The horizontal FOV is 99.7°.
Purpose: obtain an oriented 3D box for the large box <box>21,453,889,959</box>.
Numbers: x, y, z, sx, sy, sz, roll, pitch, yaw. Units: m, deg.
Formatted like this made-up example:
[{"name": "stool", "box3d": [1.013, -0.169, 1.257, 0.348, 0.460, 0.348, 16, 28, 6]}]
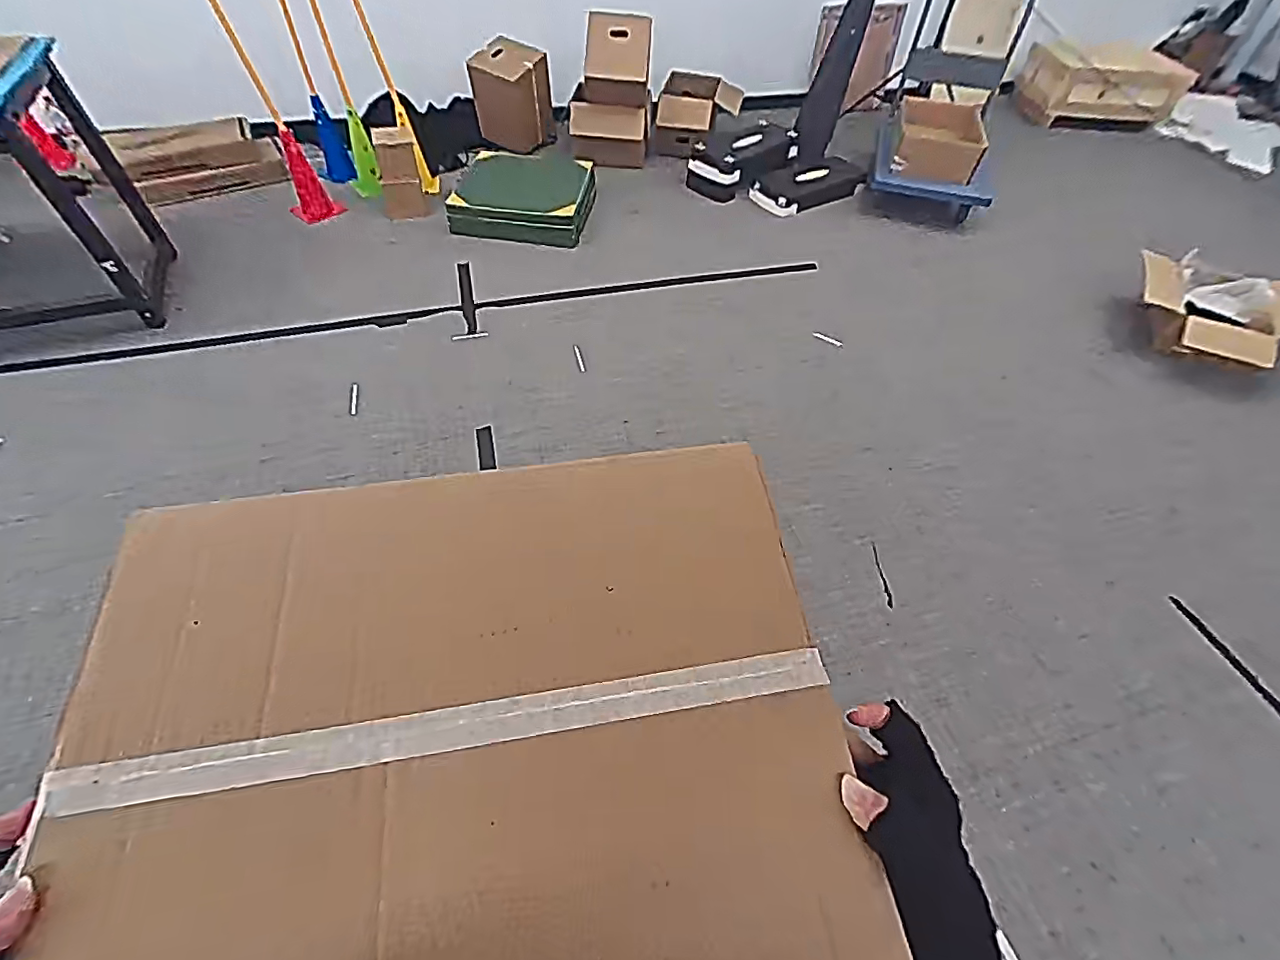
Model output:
[{"name": "large box", "box3d": [-0.102, 0.207, 0.433, 0.408, 0.320, 0.320, -7, 61, -6]}]
